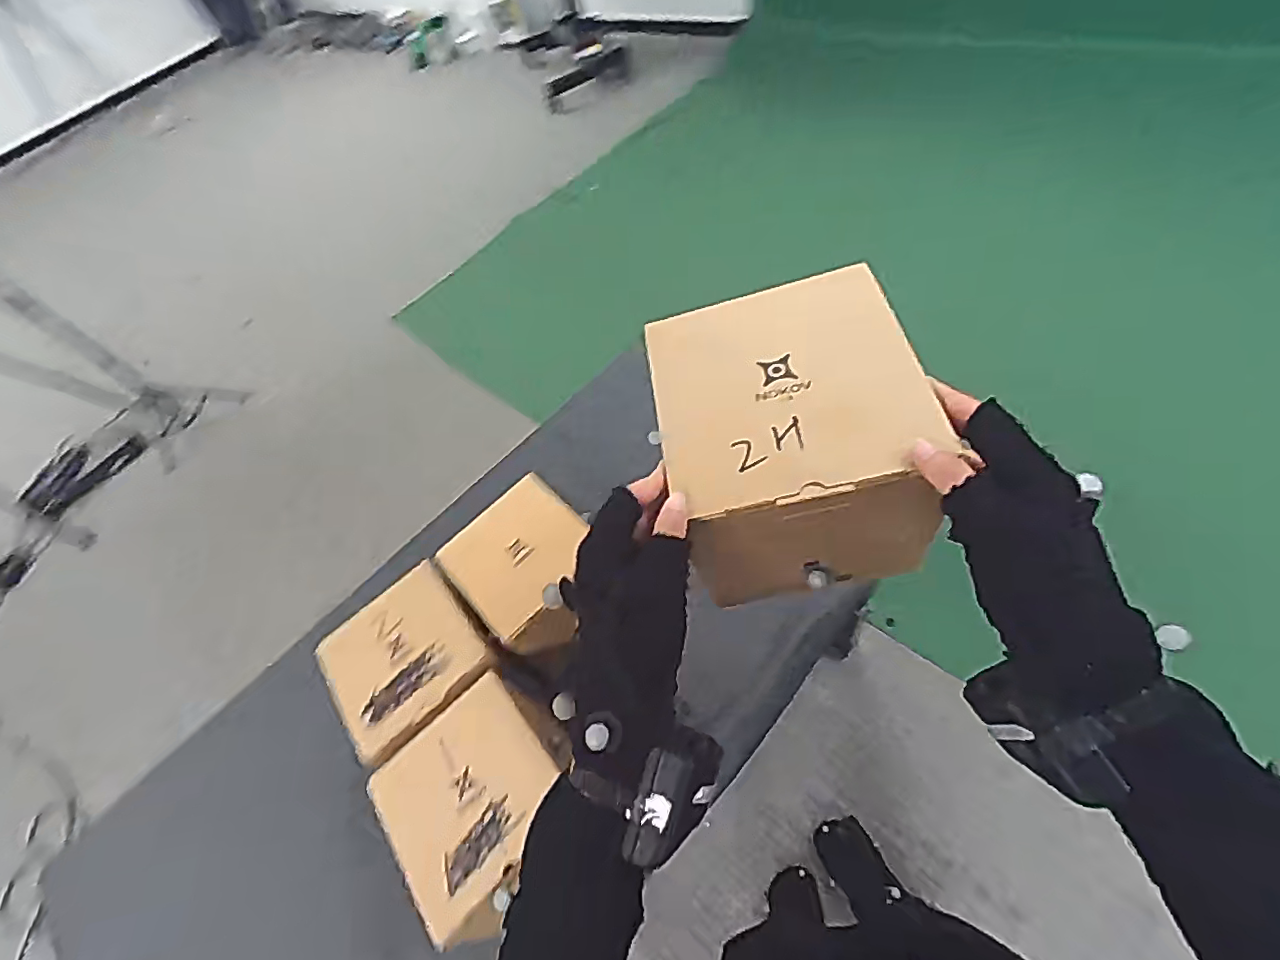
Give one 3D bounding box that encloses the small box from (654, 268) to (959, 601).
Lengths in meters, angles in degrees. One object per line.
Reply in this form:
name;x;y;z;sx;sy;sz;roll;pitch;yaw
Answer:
small box;0.113;-0.024;0.420;0.168;0.176;0.179;-12;57;11
